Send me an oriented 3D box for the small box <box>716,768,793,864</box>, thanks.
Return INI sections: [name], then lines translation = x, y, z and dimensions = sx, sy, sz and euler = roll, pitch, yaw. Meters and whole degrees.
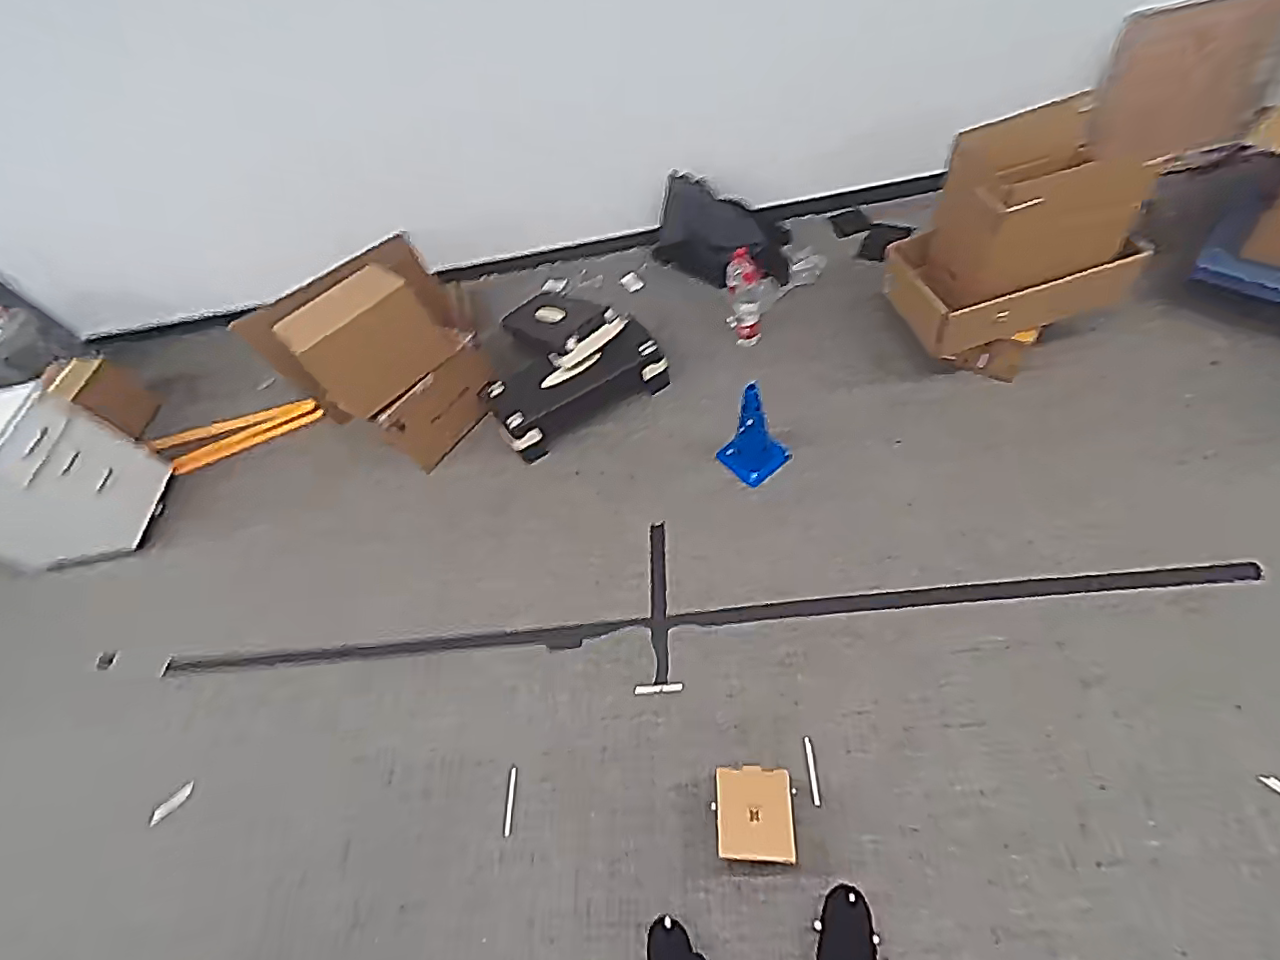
[small box]
translation = 0.269, 0.787, 1.273
dimensions = 0.168, 0.176, 0.179
euler = -3, 57, 11
